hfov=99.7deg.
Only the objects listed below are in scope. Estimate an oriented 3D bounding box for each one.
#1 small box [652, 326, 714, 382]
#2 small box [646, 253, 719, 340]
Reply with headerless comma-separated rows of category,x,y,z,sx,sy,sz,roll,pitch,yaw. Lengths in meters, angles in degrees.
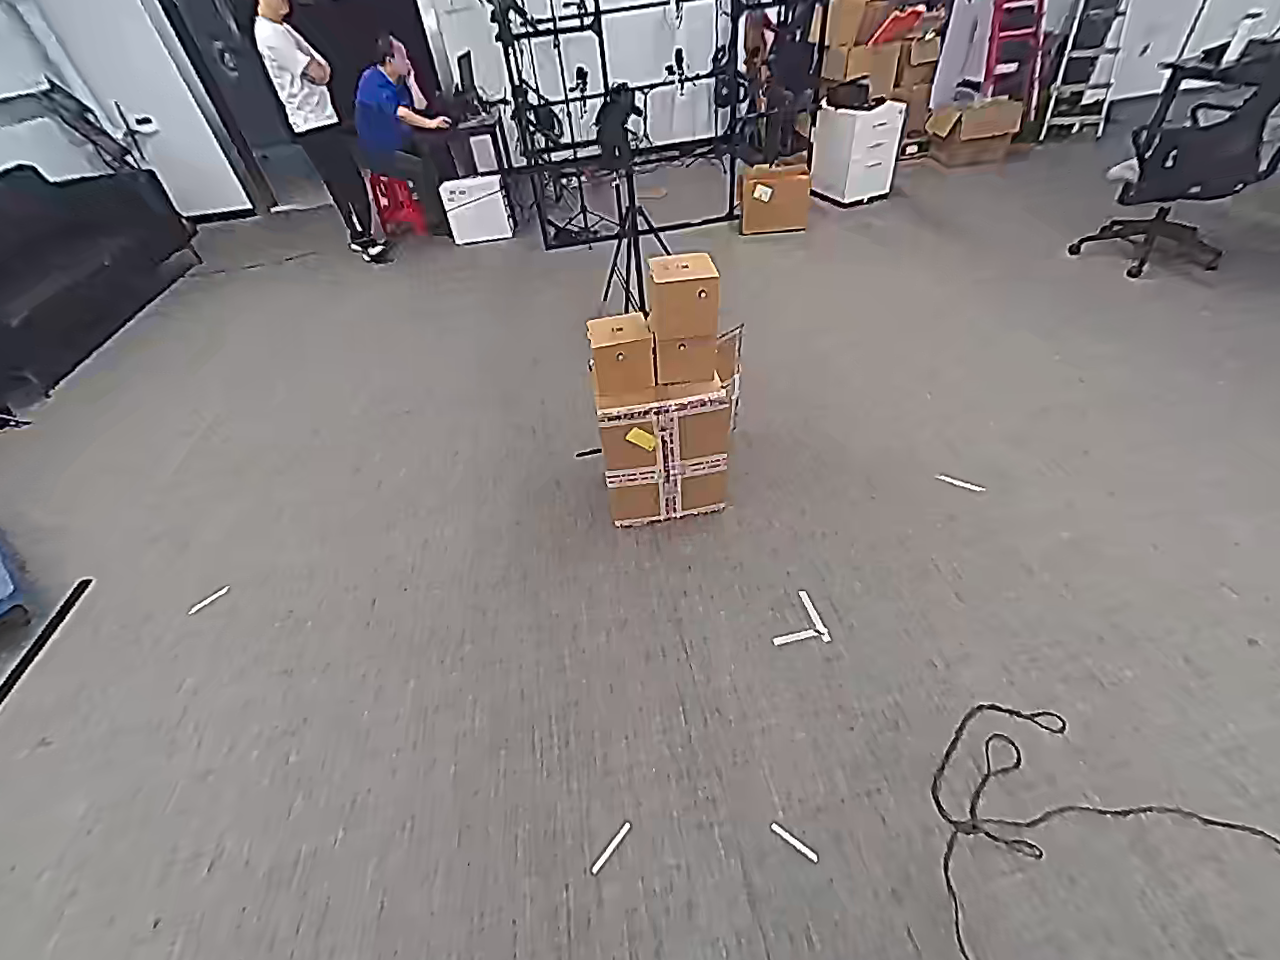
small box,0.128,-0.412,1.645,0.179,0.176,0.168,-5,44,0
small box,0.115,-0.512,1.513,0.179,0.176,0.168,-7,44,-2
